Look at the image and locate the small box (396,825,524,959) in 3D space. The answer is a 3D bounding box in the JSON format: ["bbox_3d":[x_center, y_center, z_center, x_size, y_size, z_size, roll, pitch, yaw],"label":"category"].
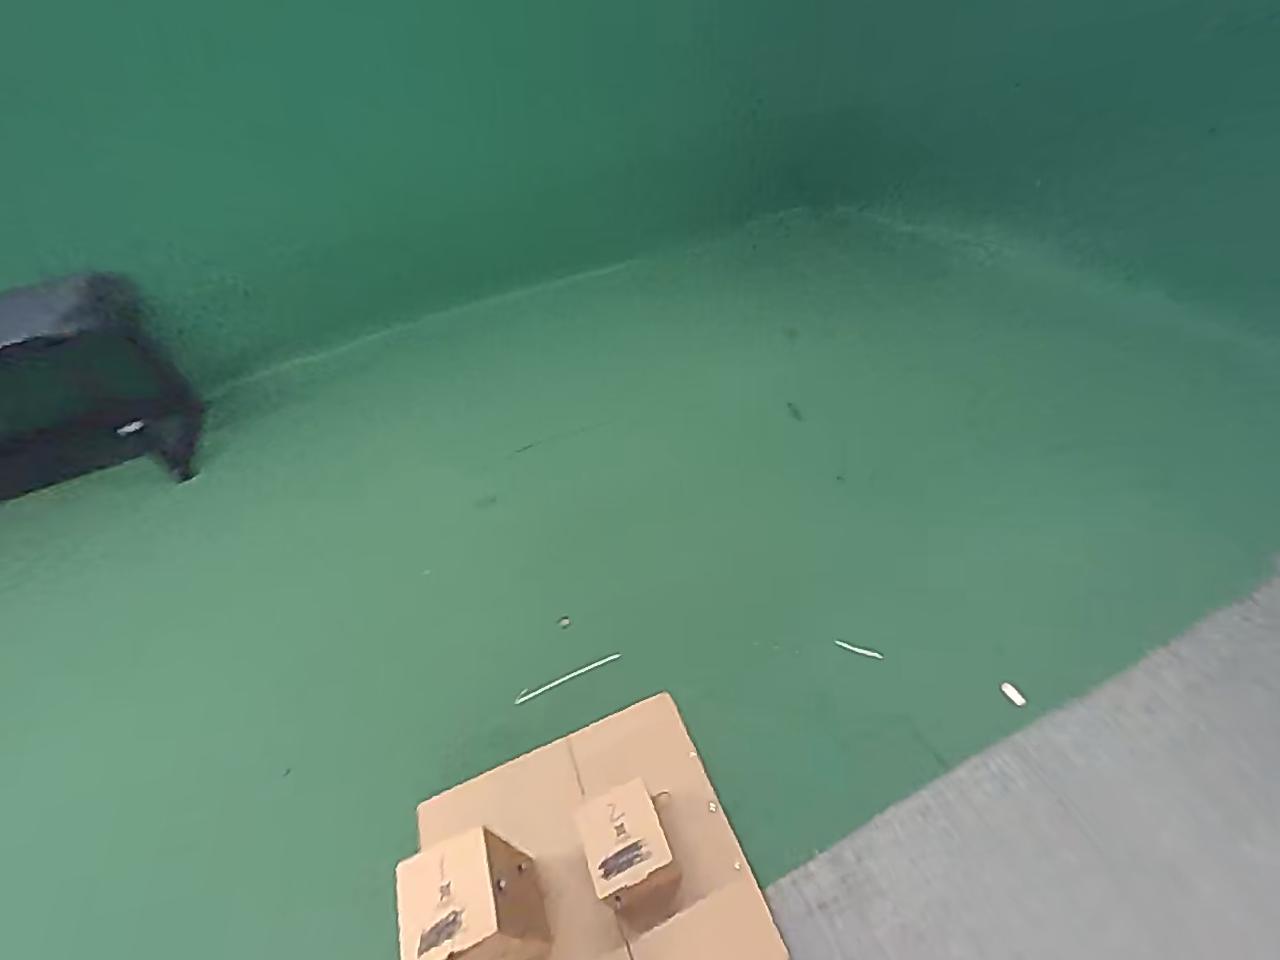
[{"bbox_3d":[-0.329,0.784,1.000,0.168,0.176,0.179,-22,45,-10],"label":"small box"}]

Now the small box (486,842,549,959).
[{"bbox_3d":[-0.305,0.897,1.116,0.168,0.176,0.179,-23,47,-10],"label":"small box"}]
